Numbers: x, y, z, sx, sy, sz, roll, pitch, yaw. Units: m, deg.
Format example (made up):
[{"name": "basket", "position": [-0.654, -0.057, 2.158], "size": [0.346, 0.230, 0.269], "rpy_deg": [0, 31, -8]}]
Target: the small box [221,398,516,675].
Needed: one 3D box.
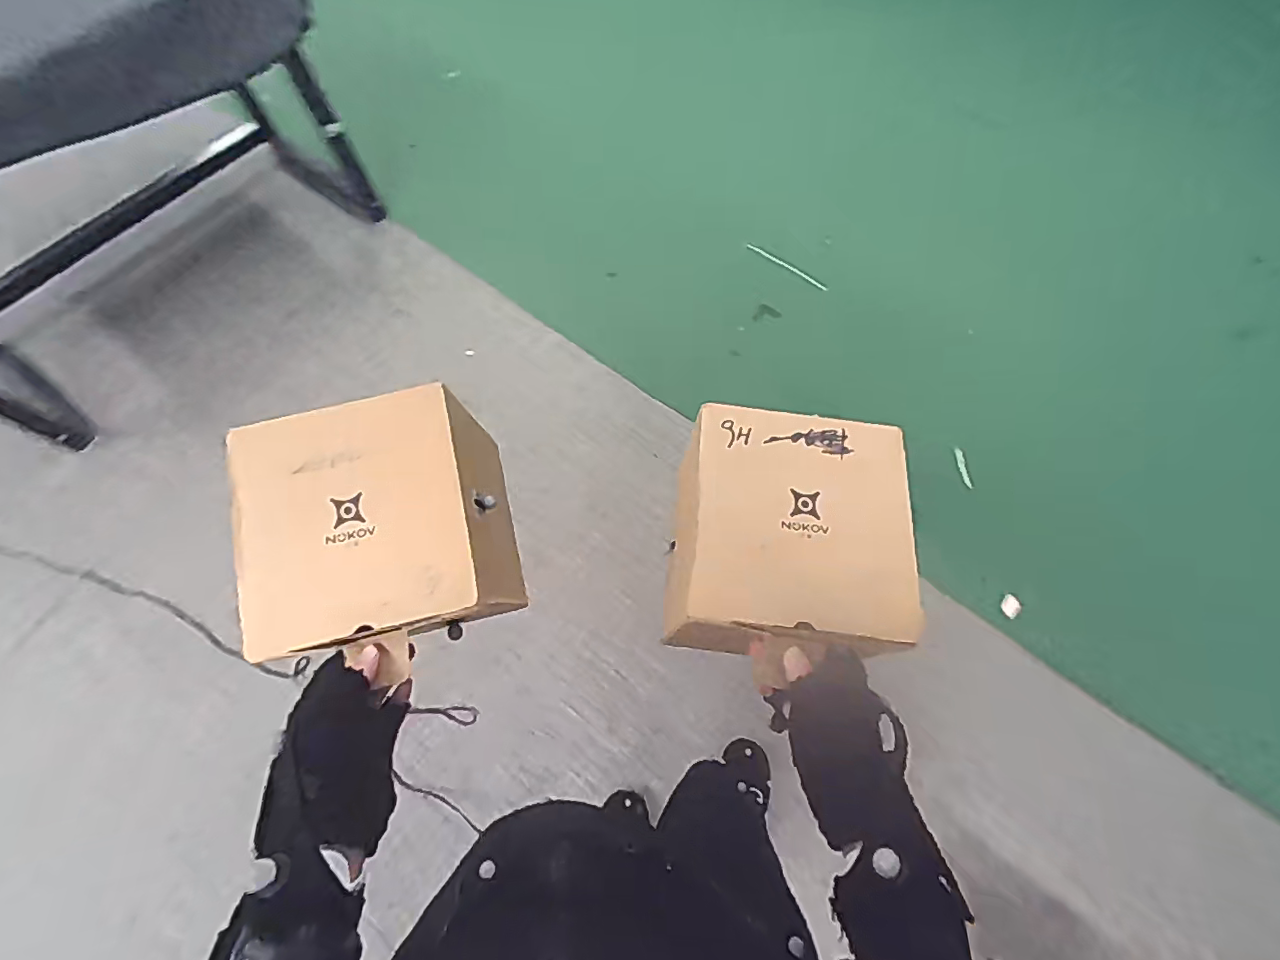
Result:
[{"name": "small box", "position": [-0.220, 0.054, 0.479], "size": [0.168, 0.176, 0.179], "rpy_deg": [-16, 77, -4]}]
